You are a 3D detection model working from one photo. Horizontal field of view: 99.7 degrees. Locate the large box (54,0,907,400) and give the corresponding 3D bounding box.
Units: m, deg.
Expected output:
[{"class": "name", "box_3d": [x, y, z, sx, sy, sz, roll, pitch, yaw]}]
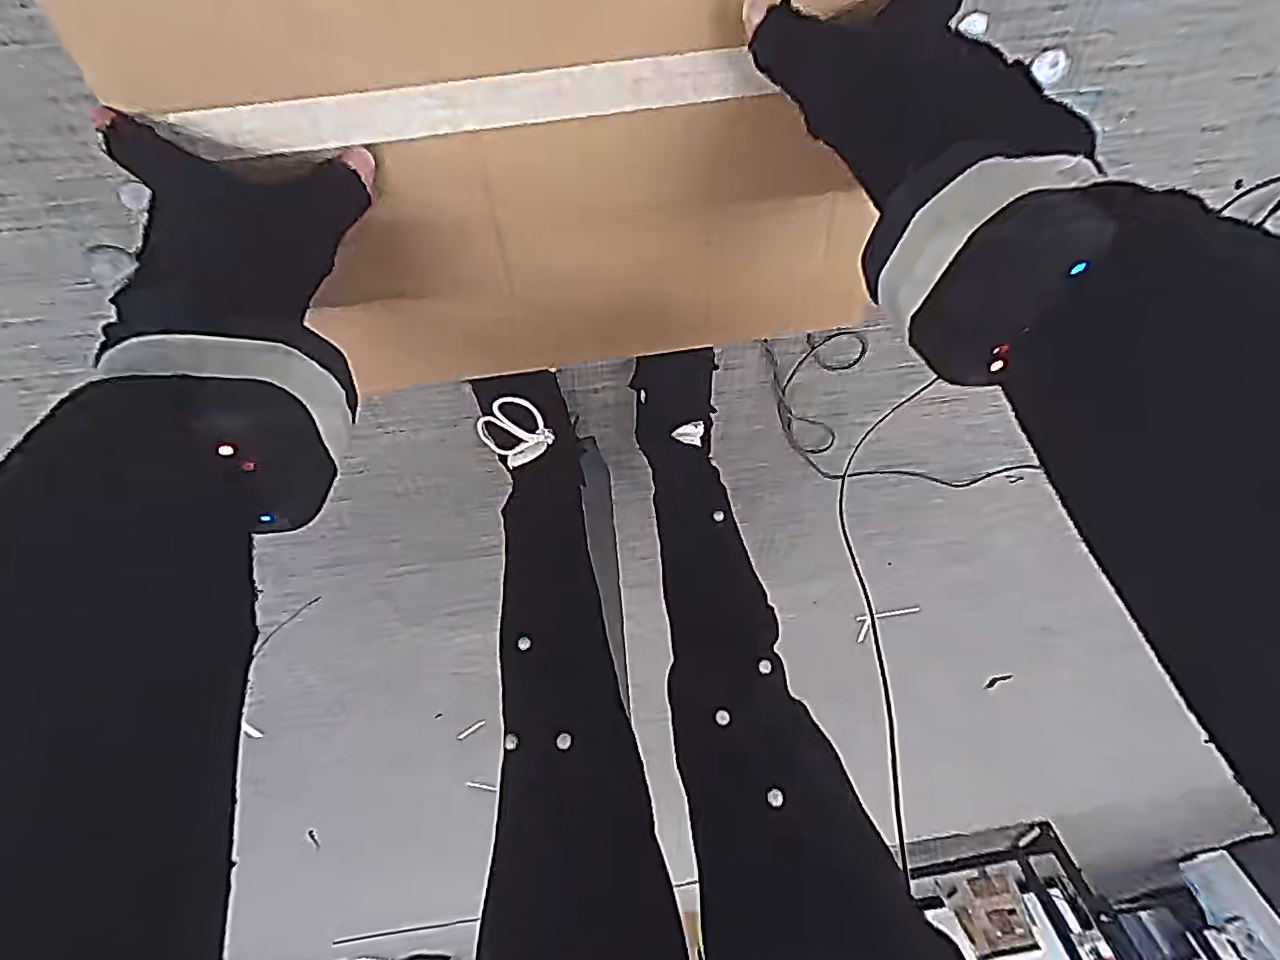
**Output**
[{"class": "large box", "box_3d": [-0.076, -0.298, 0.394, 0.408, 0.320, 0.320, -9, 131, -3]}]
